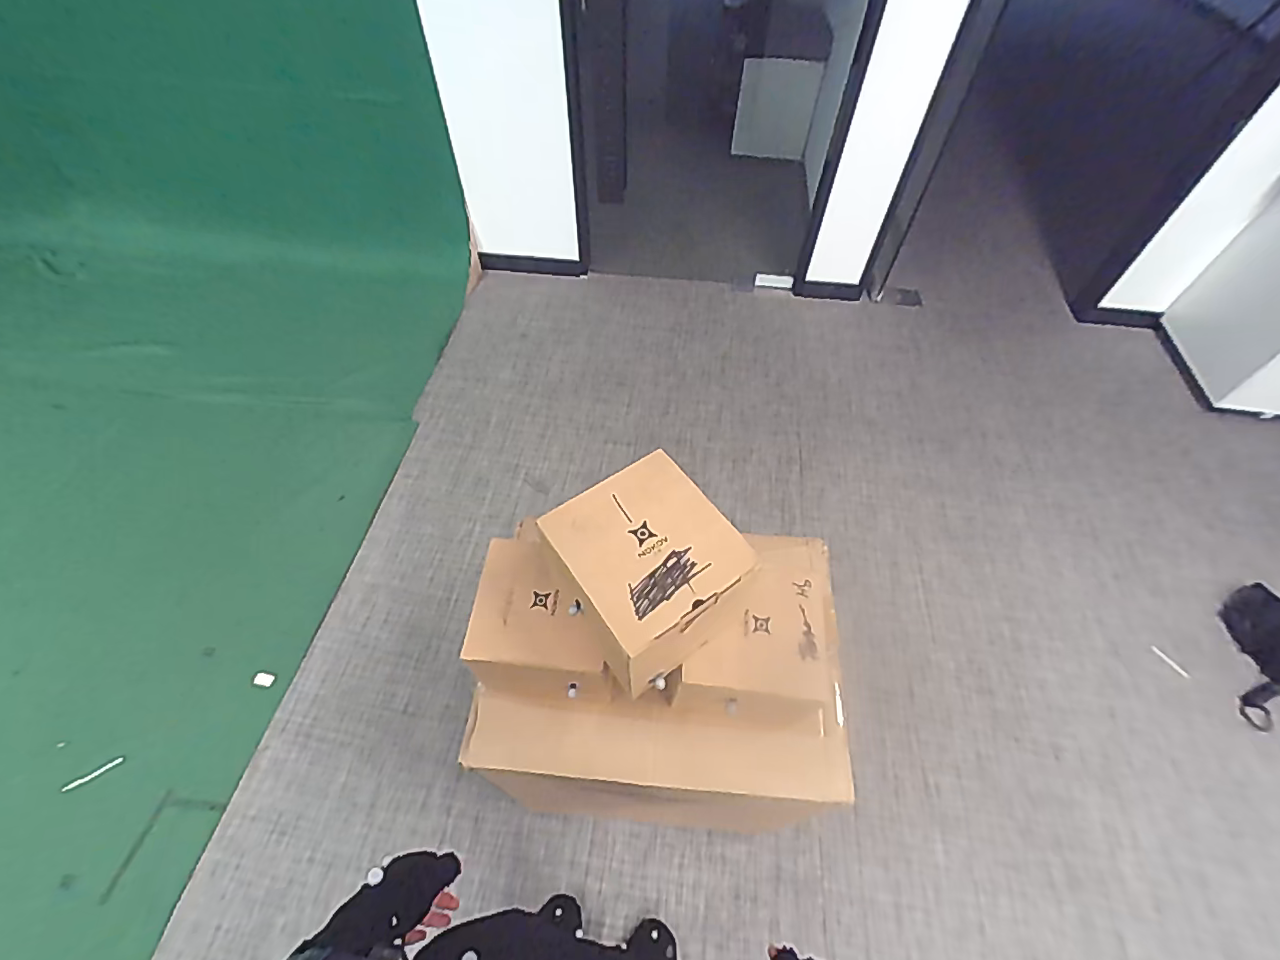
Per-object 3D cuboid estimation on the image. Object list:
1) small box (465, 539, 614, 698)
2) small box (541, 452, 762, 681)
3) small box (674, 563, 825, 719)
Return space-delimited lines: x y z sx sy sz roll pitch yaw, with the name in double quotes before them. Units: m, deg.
"small box" -0.119 0.199 0.755 0.179 0.176 0.168 3 55 2
"small box" 0.010 0.108 0.621 0.168 0.176 0.179 -30 61 -19
"small box" 0.141 0.222 0.745 0.179 0.176 0.168 5 57 4
